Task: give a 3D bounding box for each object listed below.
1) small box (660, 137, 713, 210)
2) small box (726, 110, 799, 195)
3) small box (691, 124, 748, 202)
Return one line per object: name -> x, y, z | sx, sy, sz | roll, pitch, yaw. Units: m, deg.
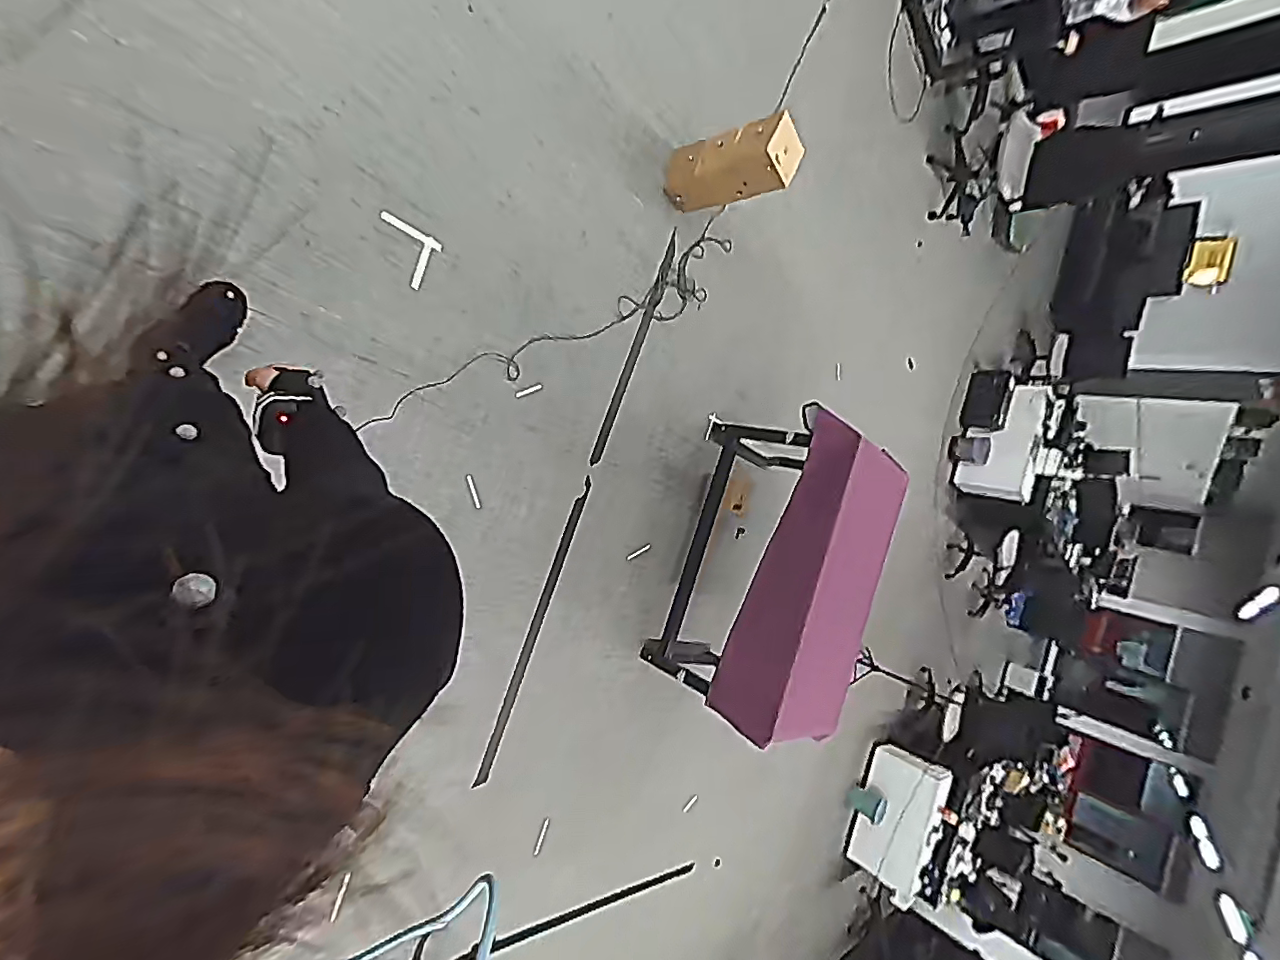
small box -> 0.205, -1.201, 2.131 | 0.168, 0.176, 0.179 | 24, 83, -44
small box -> 0.427, -1.143, 1.899 | 0.168, 0.176, 0.179 | 36, 73, -43
small box -> 0.317, -1.172, 2.017 | 0.179, 0.176, 0.168 | 27, 81, -44
